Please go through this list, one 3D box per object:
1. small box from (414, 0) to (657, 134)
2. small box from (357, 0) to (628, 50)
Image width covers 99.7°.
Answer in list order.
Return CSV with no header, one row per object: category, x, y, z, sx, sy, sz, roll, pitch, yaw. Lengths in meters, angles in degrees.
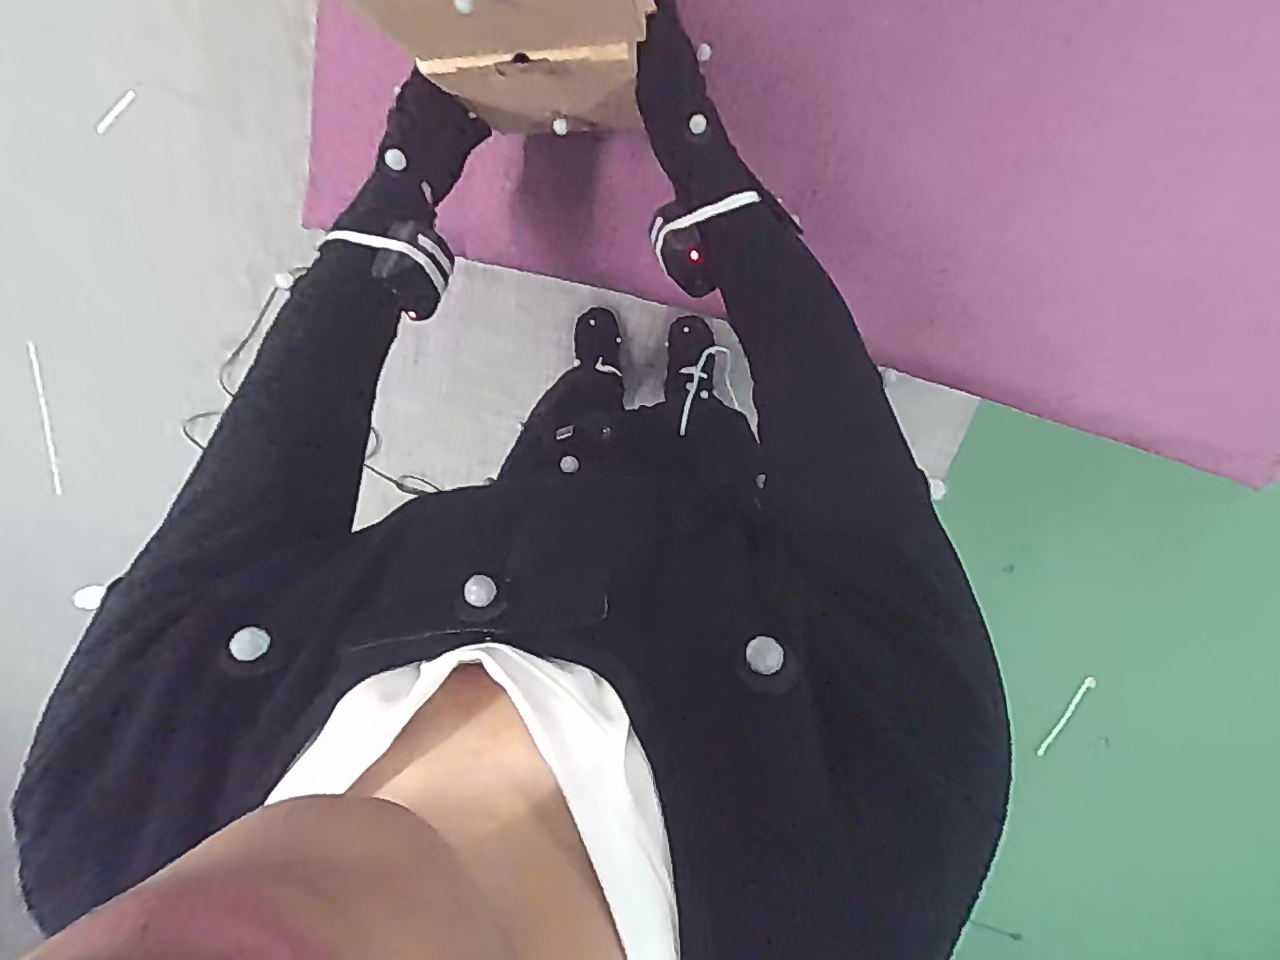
small box,-0.078,-0.416,0.452,0.168,0.176,0.179,3,109,8
small box,-0.095,-0.368,0.293,0.179,0.176,0.168,5,107,7
